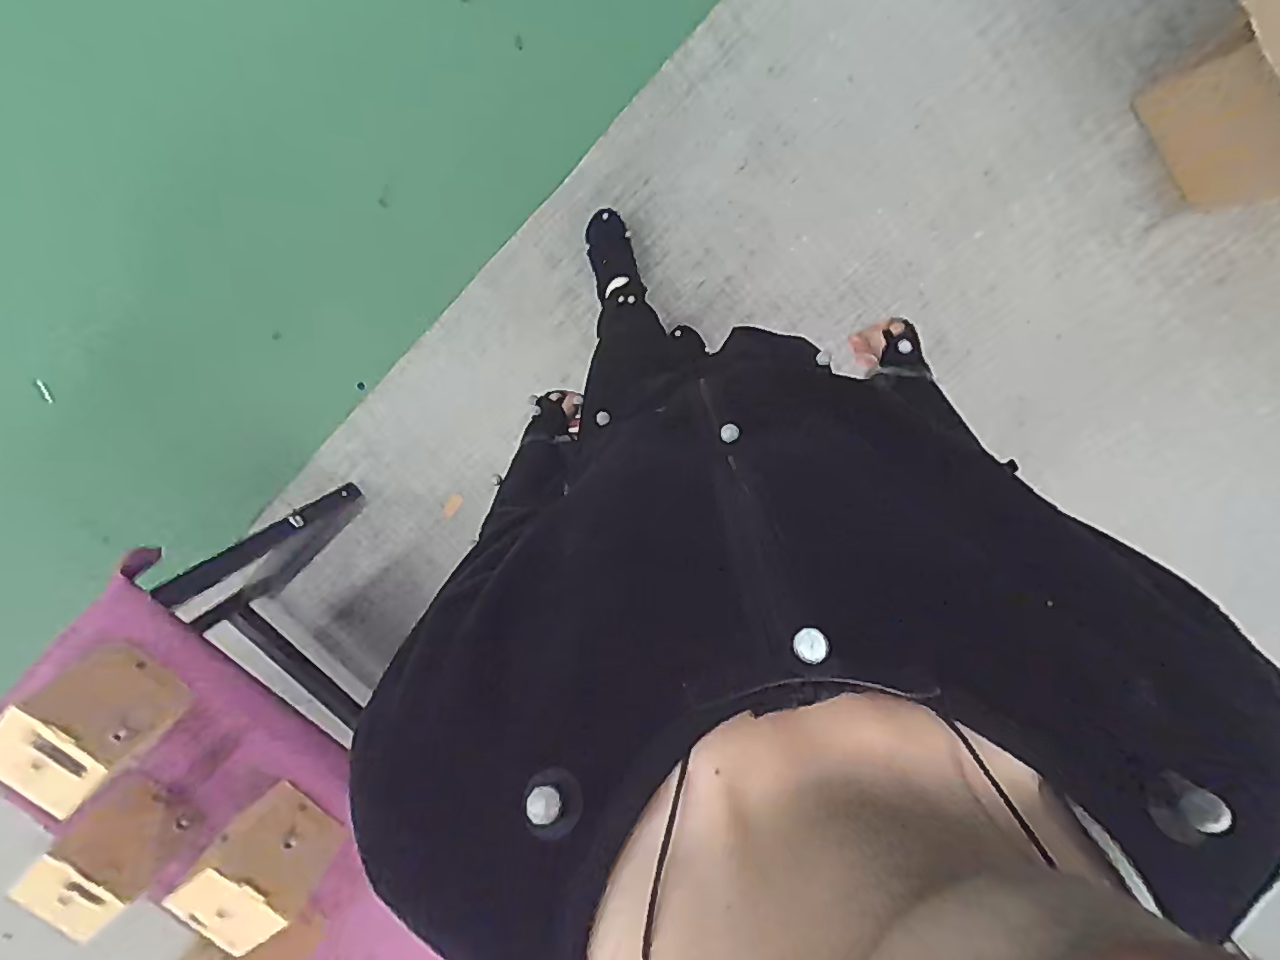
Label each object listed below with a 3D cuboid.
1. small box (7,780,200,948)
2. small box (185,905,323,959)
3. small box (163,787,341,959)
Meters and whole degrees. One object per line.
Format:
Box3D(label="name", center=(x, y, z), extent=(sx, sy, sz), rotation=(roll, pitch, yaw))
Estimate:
Box3D(label="small box", center=(-0.985, 0.708, 1.012), extent=(0.179, 0.176, 0.168), rotation=(-41, 100, 17))
Box3D(label="small box", center=(-0.772, 0.947, 1.072), extent=(0.179, 0.176, 0.168), rotation=(-30, 102, 14))
Box3D(label="small box", center=(-0.685, 0.704, 0.982), extent=(0.179, 0.176, 0.168), rotation=(-39, 100, 16))
